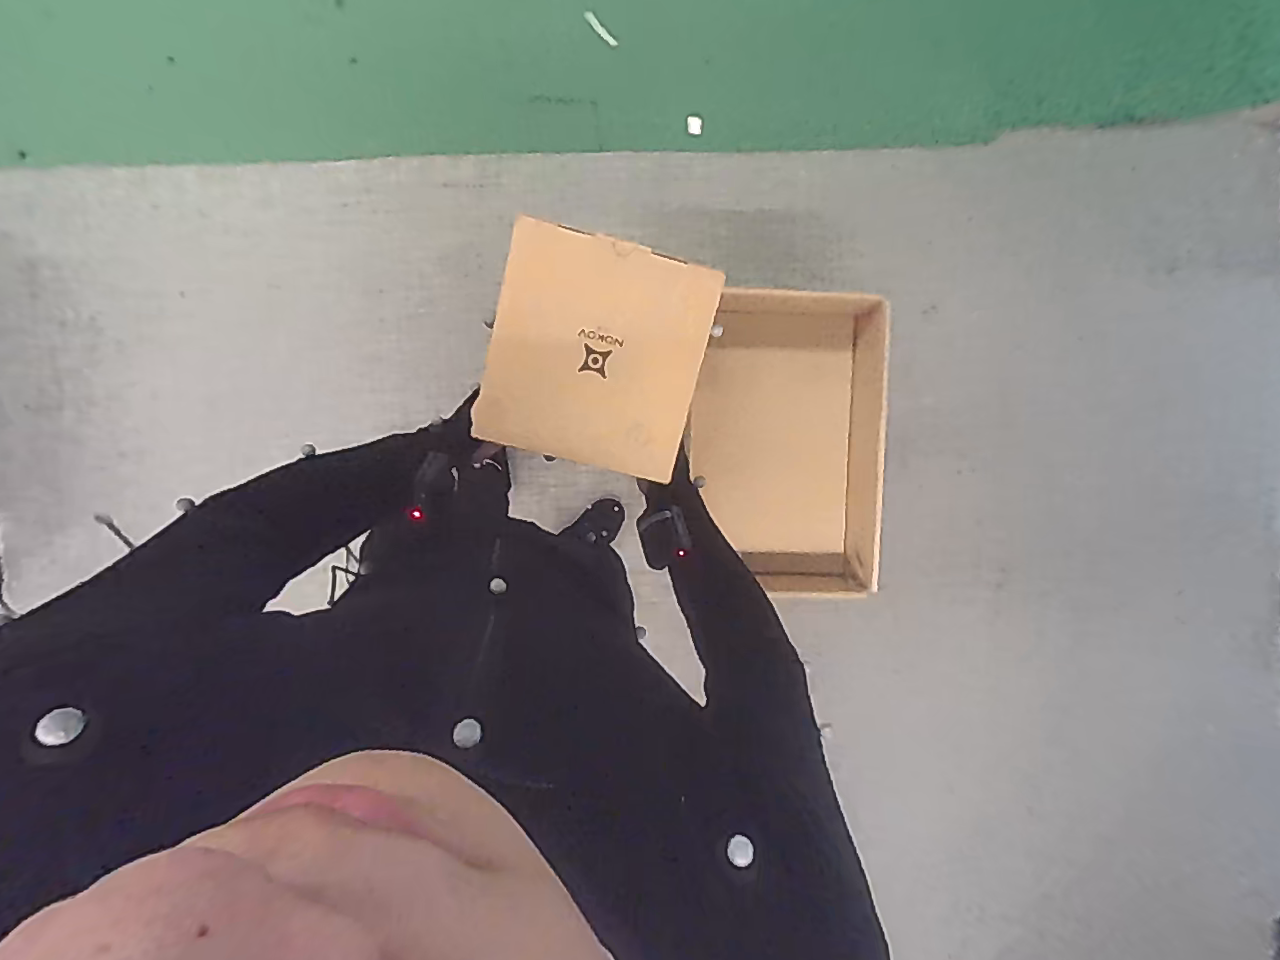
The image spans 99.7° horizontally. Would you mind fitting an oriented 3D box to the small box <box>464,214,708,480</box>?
[{"bbox_3d":[-0.049,-0.113,0.505,0.168,0.176,0.179,12,98,-6],"label":"small box"}]
